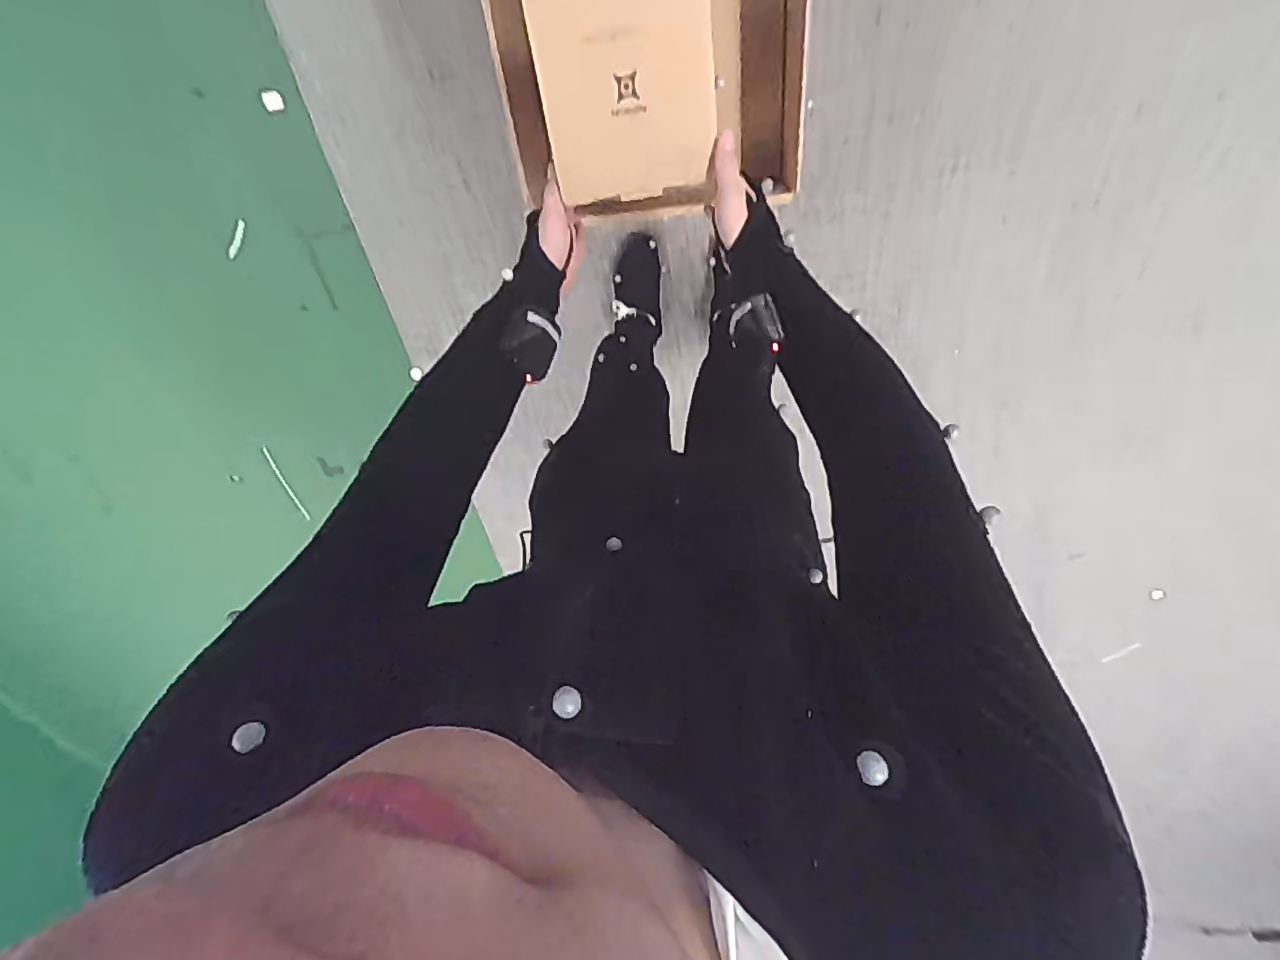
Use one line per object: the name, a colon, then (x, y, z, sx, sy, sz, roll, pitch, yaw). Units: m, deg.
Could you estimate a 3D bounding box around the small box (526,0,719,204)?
small box: (-0.008, -0.409, 0.571, 0.168, 0.176, 0.179, -6, 123, 5)
